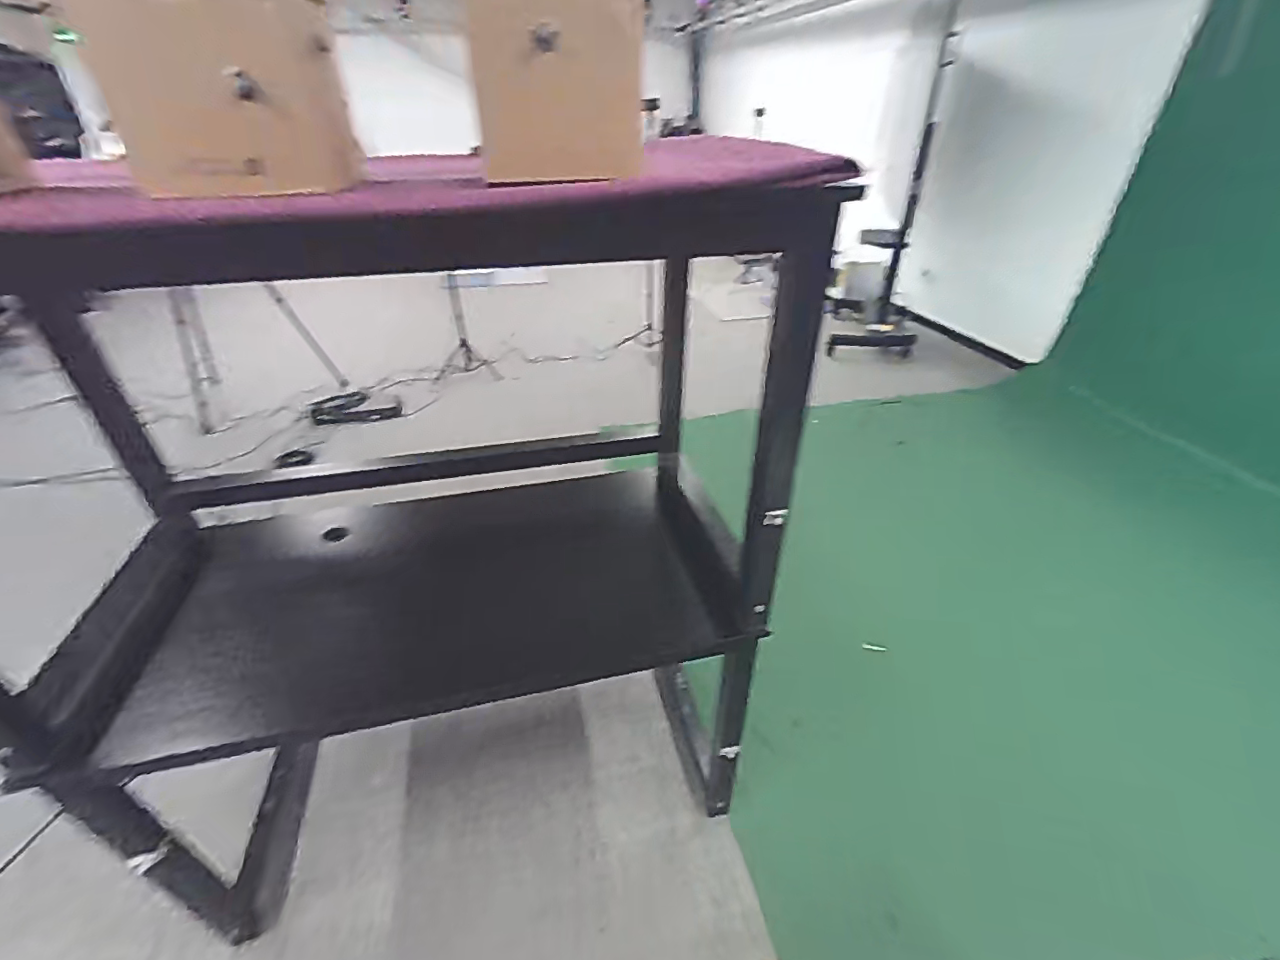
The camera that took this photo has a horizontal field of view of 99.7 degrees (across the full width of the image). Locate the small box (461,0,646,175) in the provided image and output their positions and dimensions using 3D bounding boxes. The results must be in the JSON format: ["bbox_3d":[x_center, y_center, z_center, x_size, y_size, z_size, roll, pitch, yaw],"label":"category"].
[{"bbox_3d":[-0.095,-0.440,0.605,0.179,0.176,0.168,-8,33,-11],"label":"small box"}]

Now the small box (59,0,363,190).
[{"bbox_3d":[-0.397,-0.391,0.539,0.168,0.176,0.179,-6,34,-10],"label":"small box"}]
